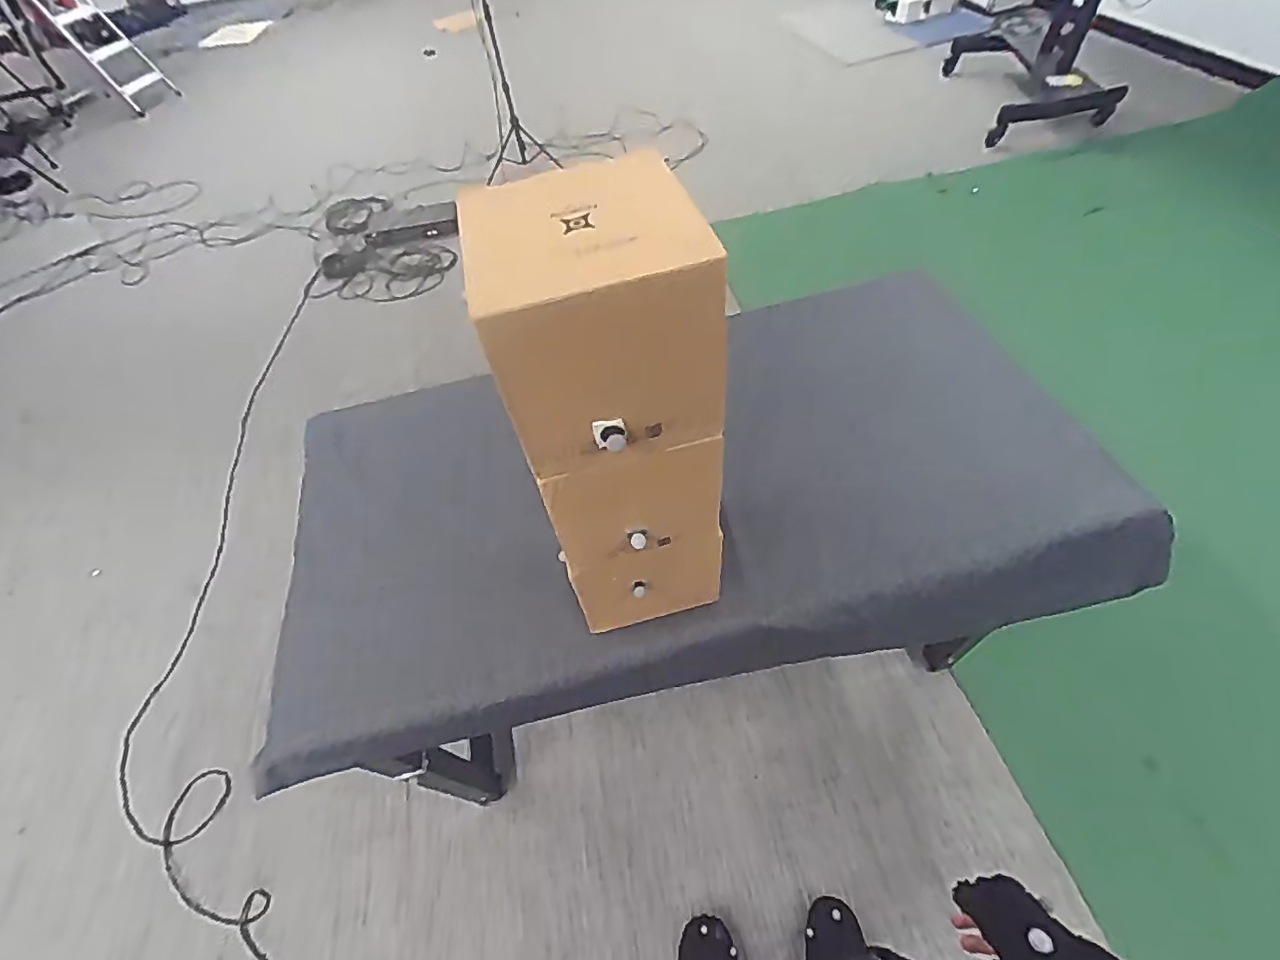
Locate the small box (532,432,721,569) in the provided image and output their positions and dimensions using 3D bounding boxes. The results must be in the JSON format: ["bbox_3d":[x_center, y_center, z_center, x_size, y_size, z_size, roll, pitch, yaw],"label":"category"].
[{"bbox_3d":[-0.021,-0.032,0.575,0.168,0.176,0.179,-13,53,-4],"label":"small box"}]

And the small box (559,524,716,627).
[{"bbox_3d":[-0.006,0.071,0.702,0.179,0.176,0.168,-14,53,-4],"label":"small box"}]

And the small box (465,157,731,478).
[{"bbox_3d":[-0.034,-0.131,0.448,0.168,0.176,0.179,-15,53,-4],"label":"small box"}]
